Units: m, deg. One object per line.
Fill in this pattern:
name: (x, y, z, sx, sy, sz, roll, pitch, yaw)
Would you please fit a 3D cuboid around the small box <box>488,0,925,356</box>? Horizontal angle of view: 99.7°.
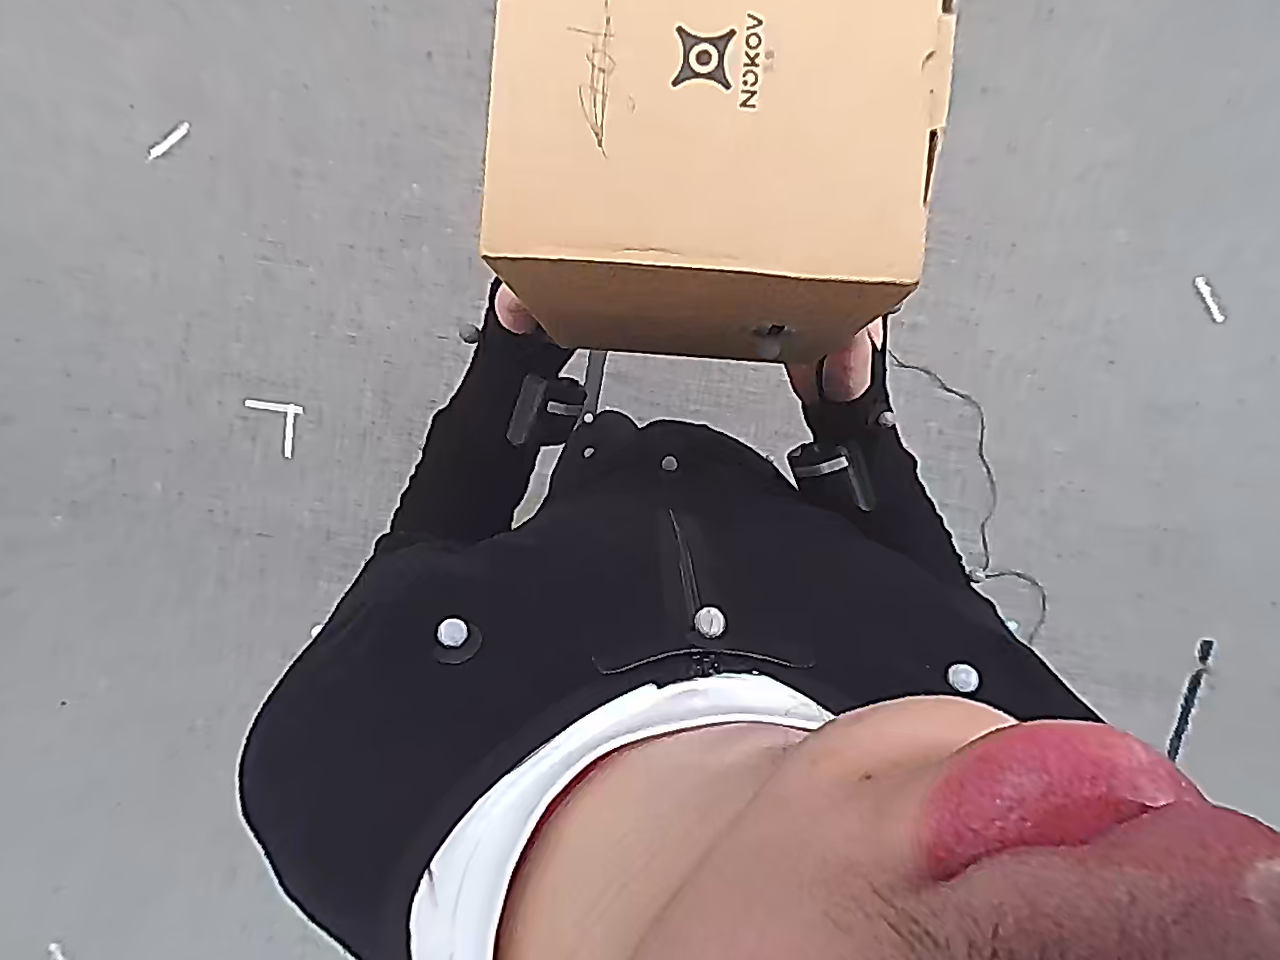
small box: (0.030, -0.170, 0.302, 0.179, 0.176, 0.168, 3, 91, 3)
